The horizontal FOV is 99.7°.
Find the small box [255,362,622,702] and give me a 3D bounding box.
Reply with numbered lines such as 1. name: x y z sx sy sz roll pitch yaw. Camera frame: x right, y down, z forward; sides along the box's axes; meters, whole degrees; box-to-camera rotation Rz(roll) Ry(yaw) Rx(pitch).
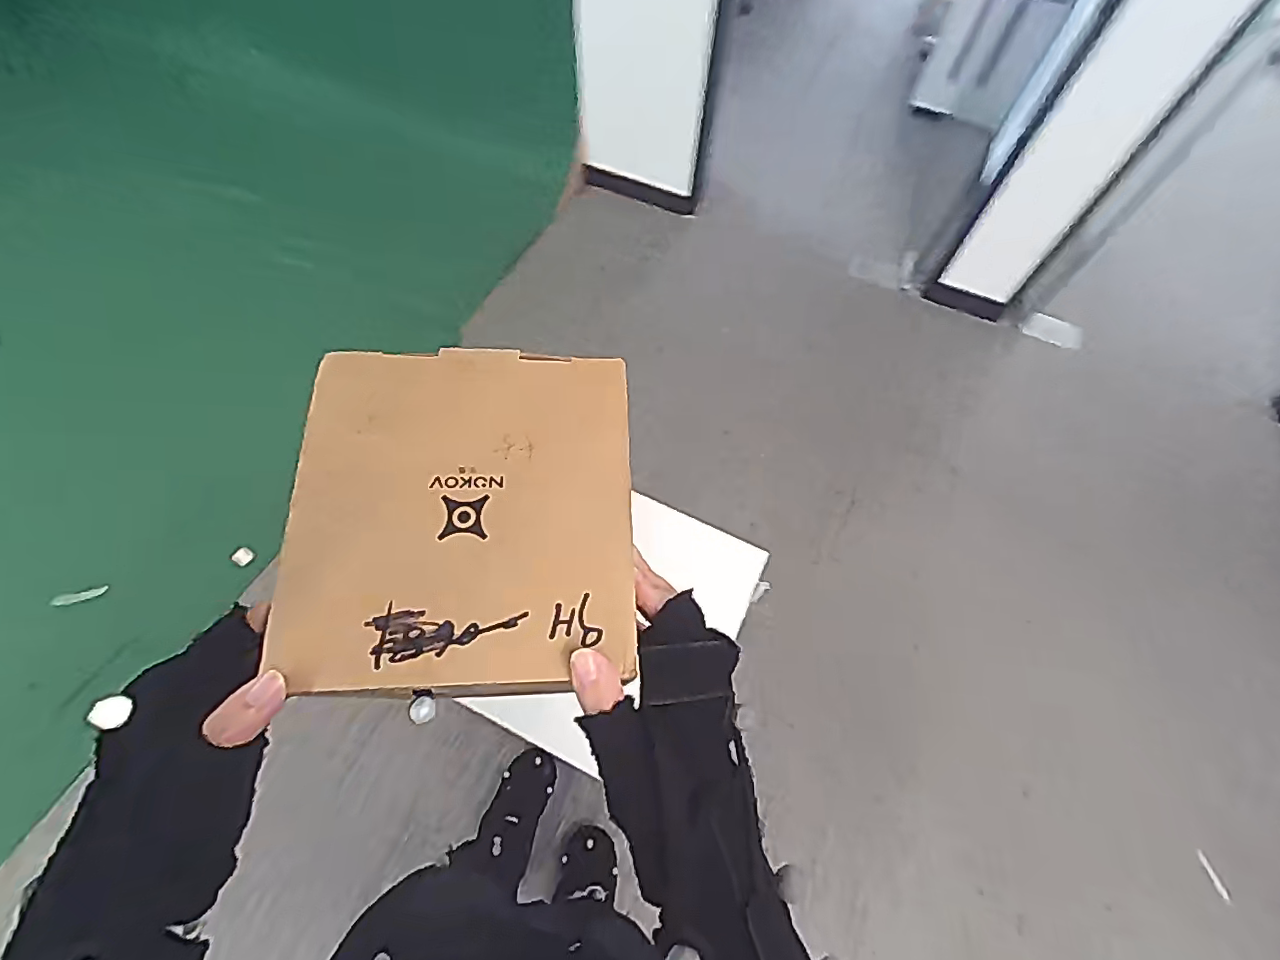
1. small box: -0.102 0.044 0.353 0.168 0.176 0.179 -1 67 -6
